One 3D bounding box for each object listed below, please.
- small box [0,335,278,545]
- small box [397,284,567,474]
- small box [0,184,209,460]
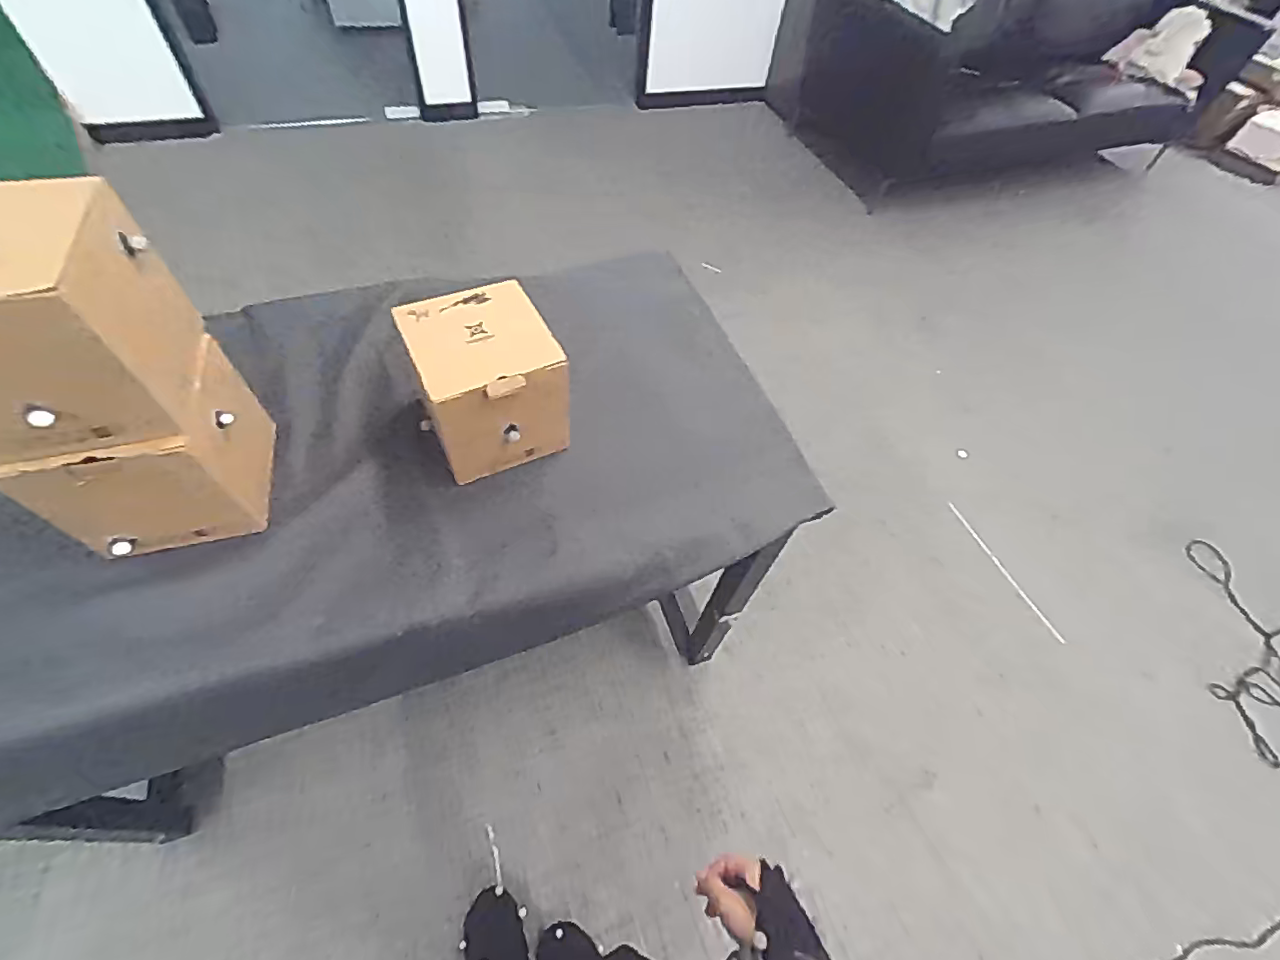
[{"bbox_3d":[-0.551,-0.039,0.630,0.168,0.176,0.179,-10,56,-14],"label":"small box"},{"bbox_3d":[-0.204,-0.128,0.733,0.168,0.176,0.179,-21,60,-20],"label":"small box"},{"bbox_3d":[-0.543,-0.146,0.504,0.168,0.176,0.179,-13,57,-14],"label":"small box"}]
